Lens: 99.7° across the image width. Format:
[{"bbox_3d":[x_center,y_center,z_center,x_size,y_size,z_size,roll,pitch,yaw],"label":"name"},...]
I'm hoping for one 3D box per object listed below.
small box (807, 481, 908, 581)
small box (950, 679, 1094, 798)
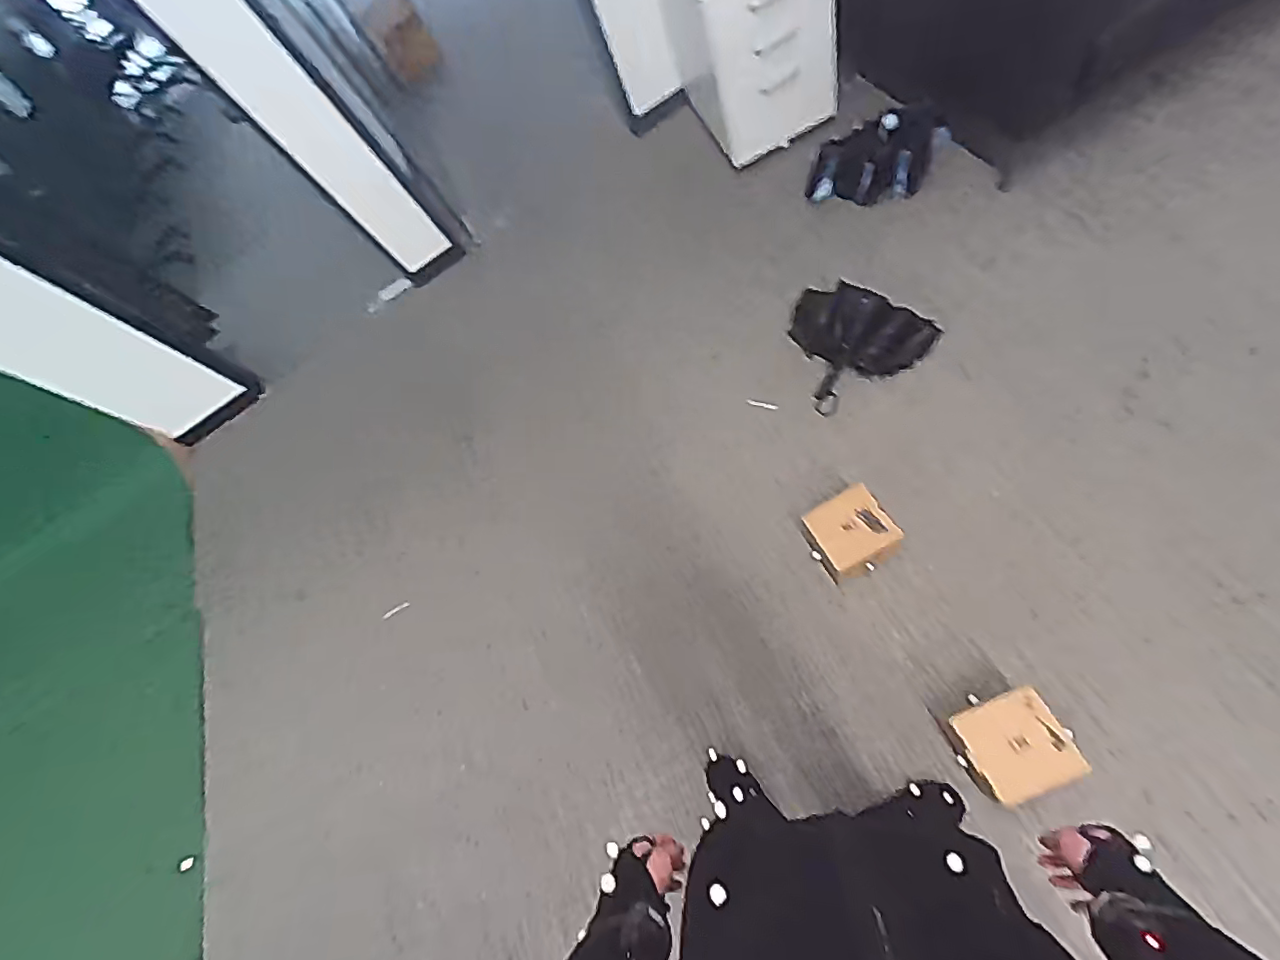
[{"bbox_3d":[0.553,0.135,1.381,0.179,0.176,0.168,-32,60,8],"label":"small box"},{"bbox_3d":[0.774,0.533,1.123,0.179,0.176,0.168,-30,60,9],"label":"small box"}]
